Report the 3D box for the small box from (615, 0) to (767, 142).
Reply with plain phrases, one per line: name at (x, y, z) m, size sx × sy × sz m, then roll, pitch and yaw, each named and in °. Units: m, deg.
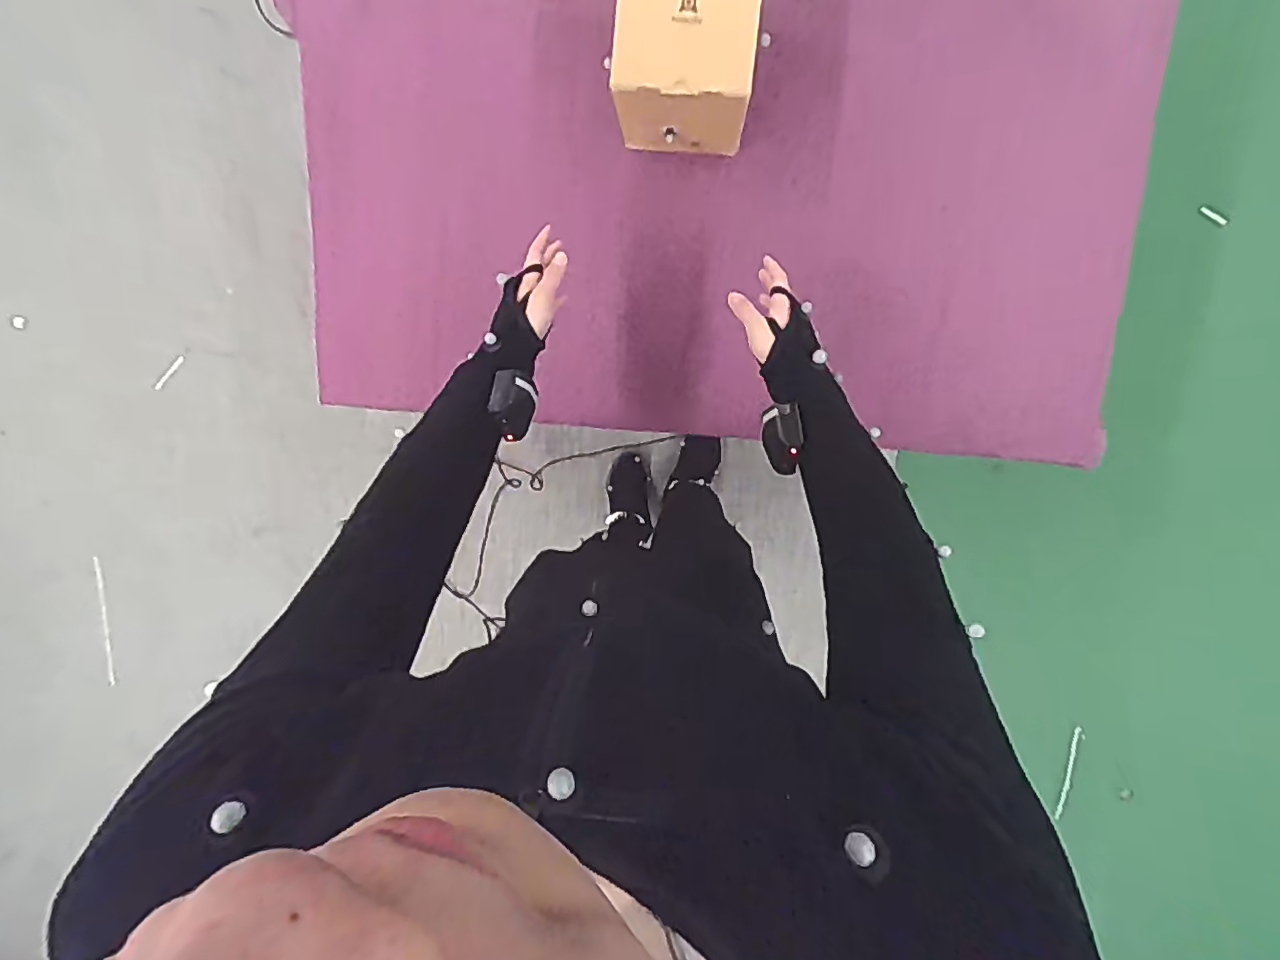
small box at (0.064, -0.557, 0.675) m, size 0.168 × 0.176 × 0.179 m, roll 6°, pitch 103°, yaw 3°
